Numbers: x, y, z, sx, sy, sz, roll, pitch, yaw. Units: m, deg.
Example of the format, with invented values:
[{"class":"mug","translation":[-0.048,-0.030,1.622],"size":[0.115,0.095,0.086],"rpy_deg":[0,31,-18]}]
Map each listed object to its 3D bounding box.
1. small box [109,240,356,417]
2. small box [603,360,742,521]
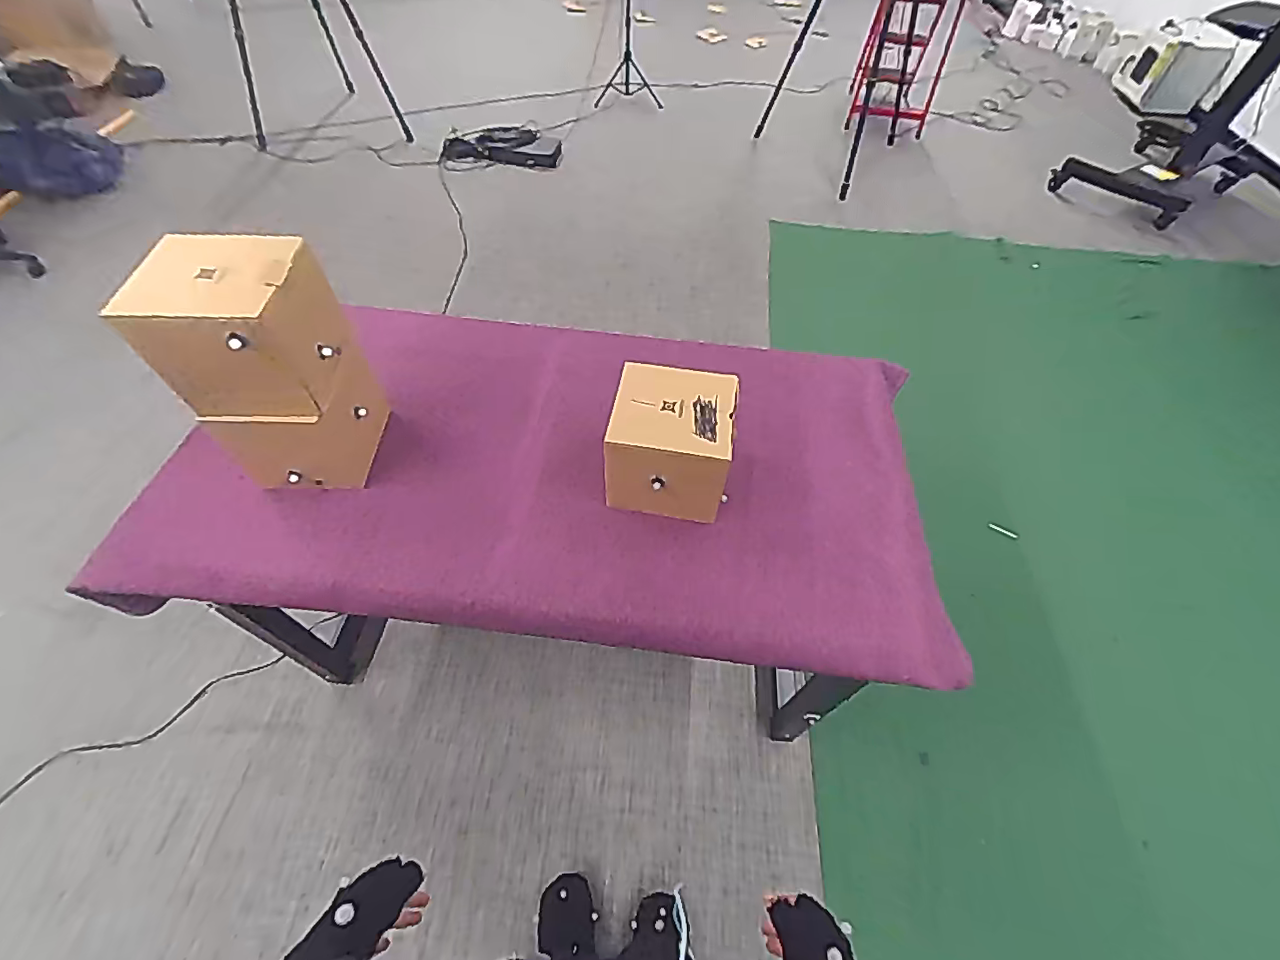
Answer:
[{"class":"small box","translation":[-0.518,-0.198,0.723],"size":[0.179,0.176,0.168],"rpy_deg":[-1,55,-3]},{"class":"small box","translation":[0.048,-0.056,0.837],"size":[0.179,0.176,0.168],"rpy_deg":[11,53,6]}]
